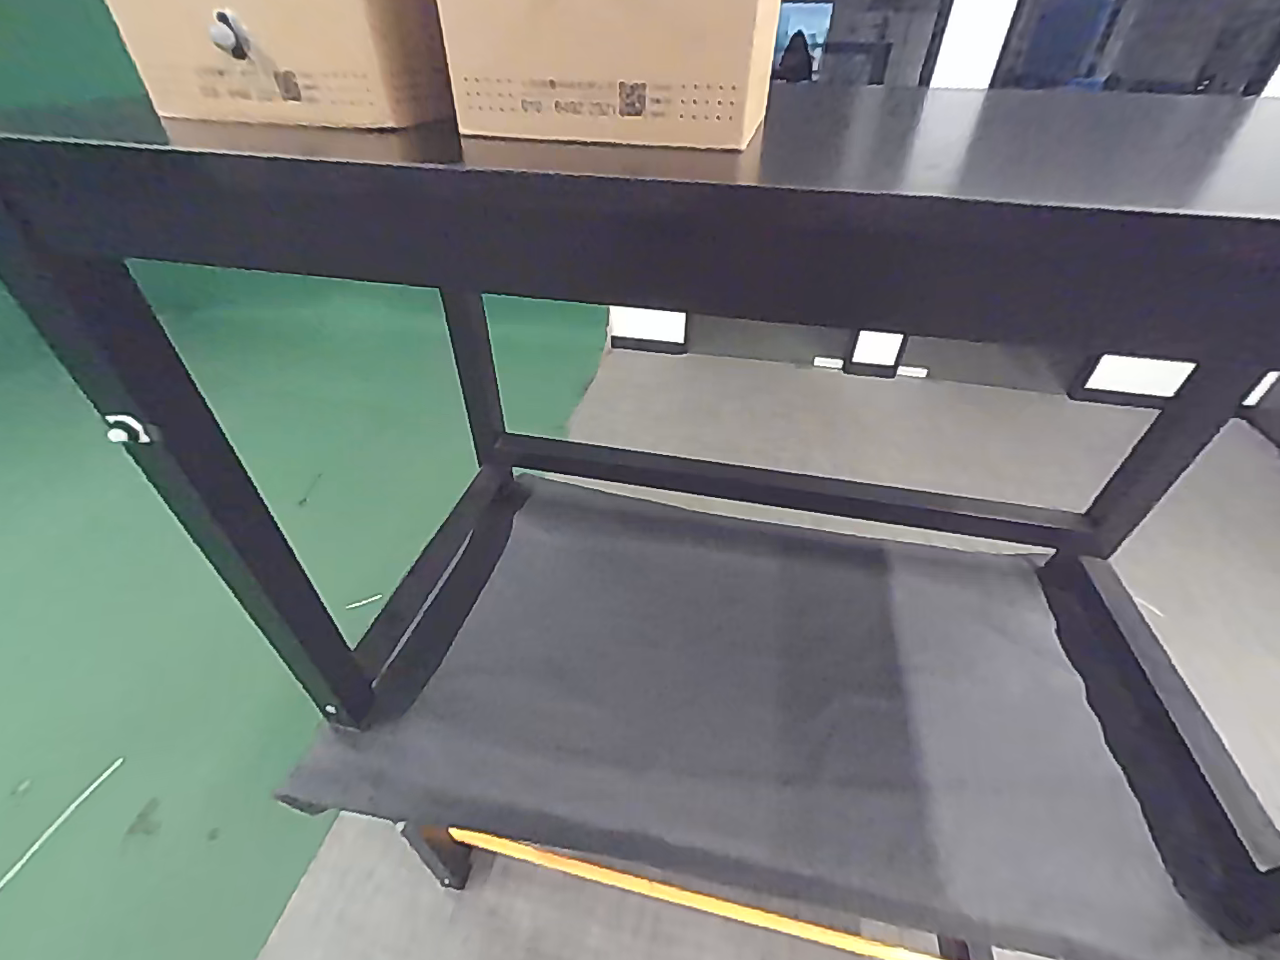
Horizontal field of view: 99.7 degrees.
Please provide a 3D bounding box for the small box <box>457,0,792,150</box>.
[{"bbox_3d":[0.003,-0.297,0.305,0.168,0.176,0.179,10,40,10],"label":"small box"}]
